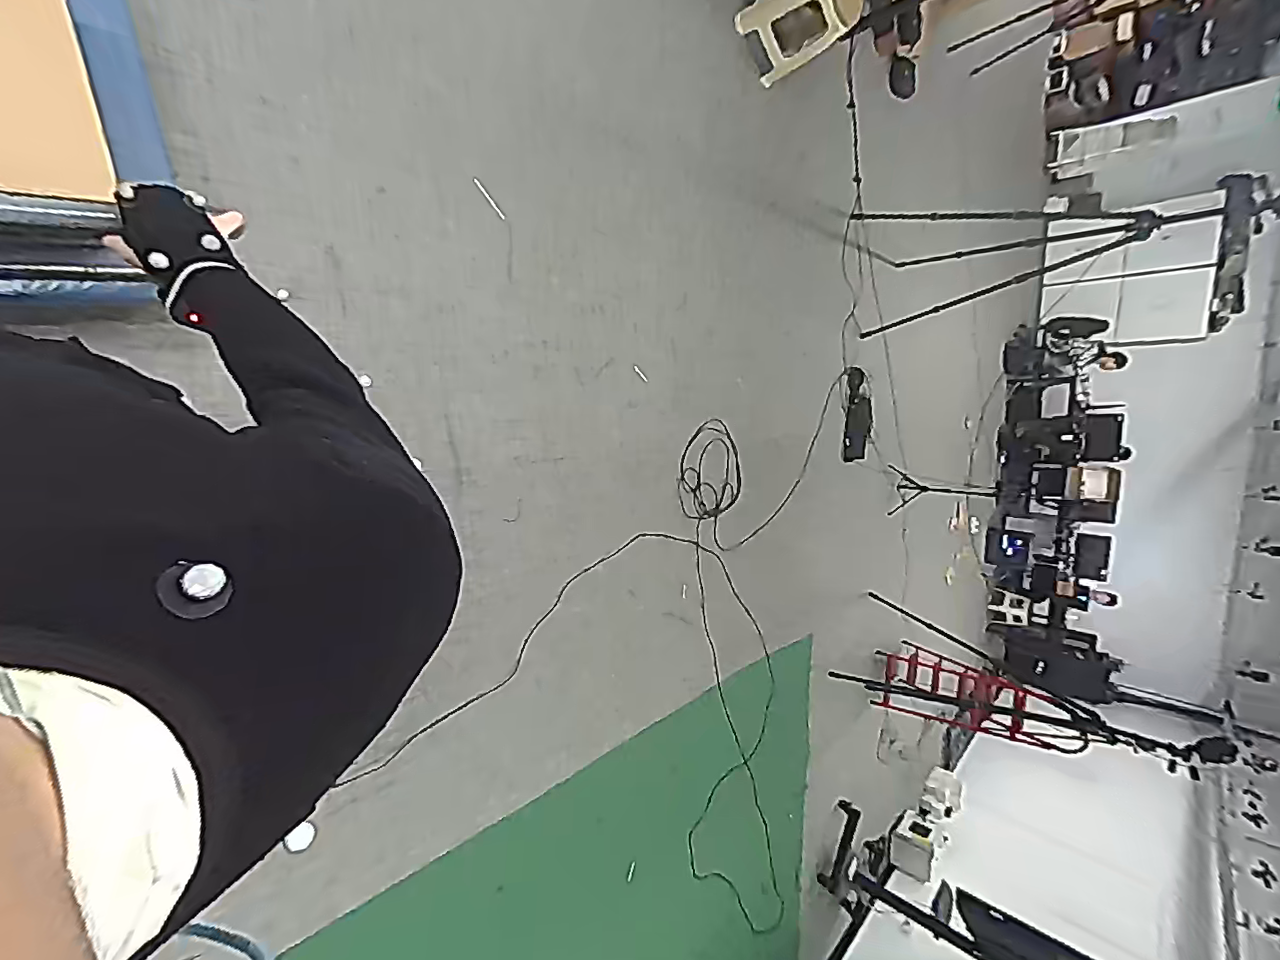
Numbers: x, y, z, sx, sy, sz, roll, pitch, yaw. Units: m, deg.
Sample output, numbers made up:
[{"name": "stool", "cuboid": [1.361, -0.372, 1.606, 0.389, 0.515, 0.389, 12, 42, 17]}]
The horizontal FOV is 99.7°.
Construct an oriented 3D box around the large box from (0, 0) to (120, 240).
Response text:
[{"name": "large box", "cuboid": [-1.044, -0.604, 0.802, 0.320, 0.320, 0.408, -18, 108, -43]}]
